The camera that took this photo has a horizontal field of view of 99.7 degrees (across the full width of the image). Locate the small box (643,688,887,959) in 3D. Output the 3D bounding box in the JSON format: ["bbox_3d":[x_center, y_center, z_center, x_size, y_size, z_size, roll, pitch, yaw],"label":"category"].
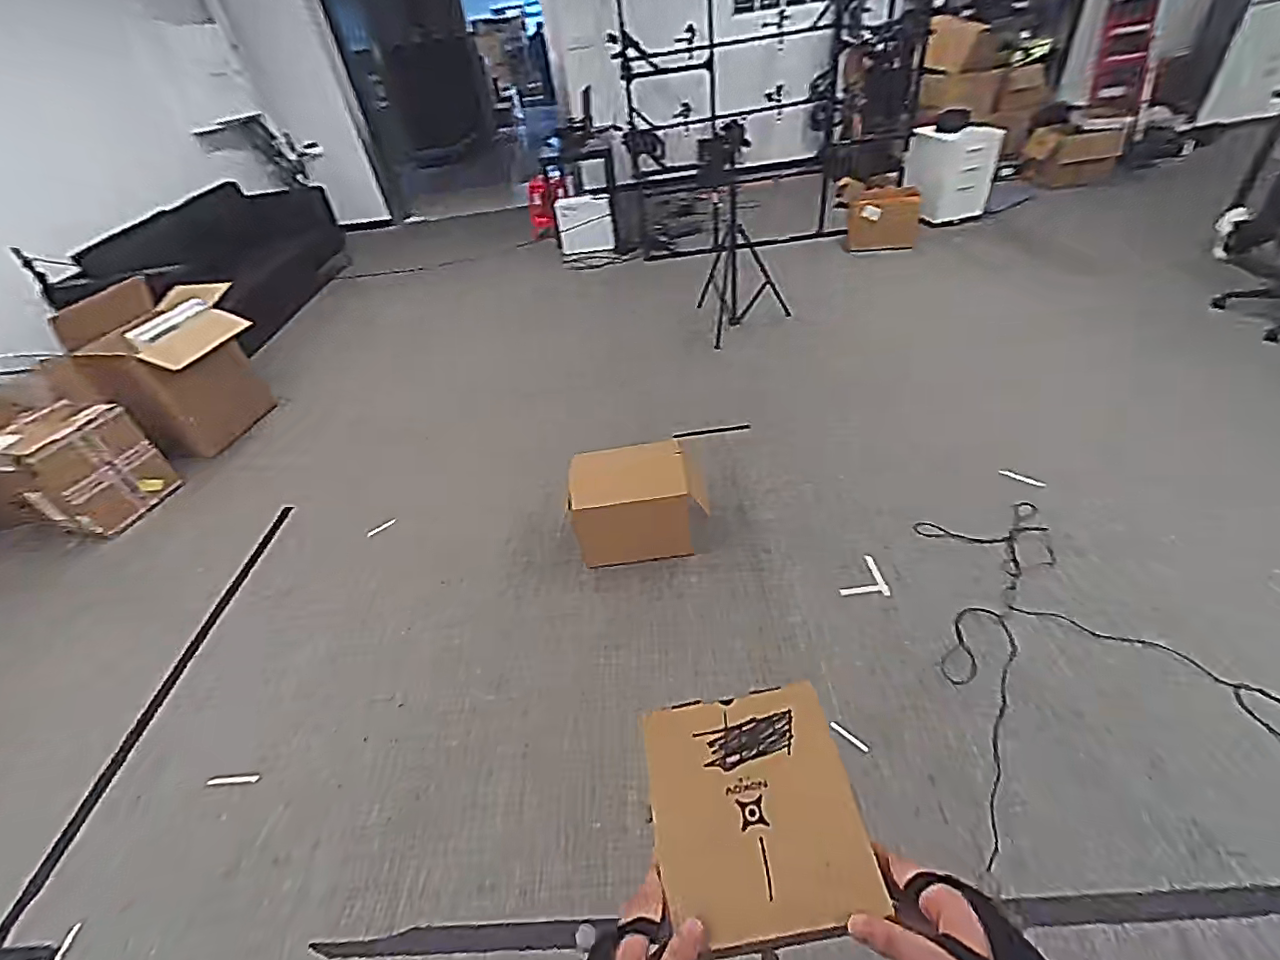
[{"bbox_3d":[0.098,0.322,0.506,0.168,0.176,0.179,-10,48,0],"label":"small box"}]
